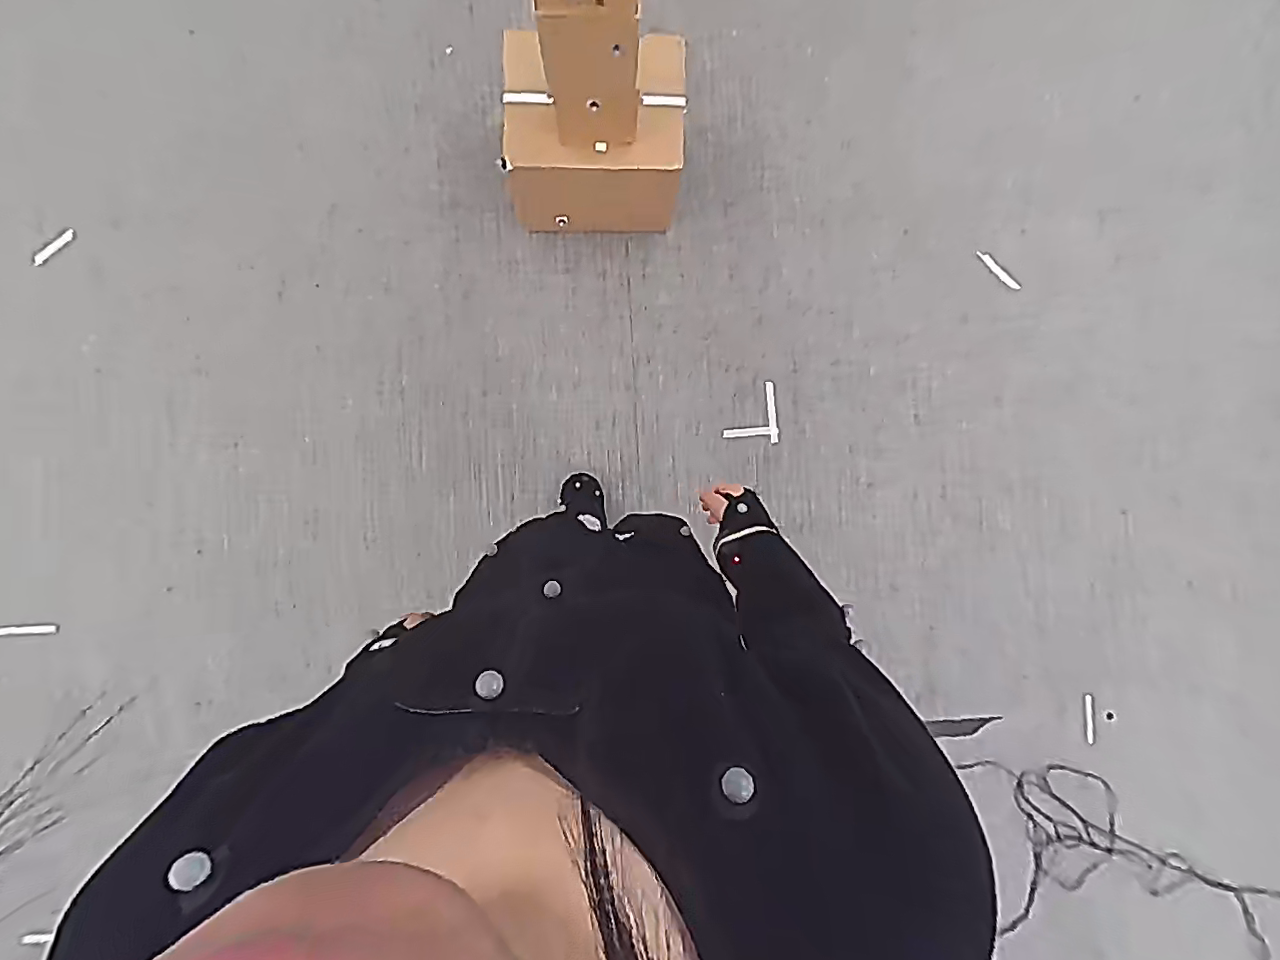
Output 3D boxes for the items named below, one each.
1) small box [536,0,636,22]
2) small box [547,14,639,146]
[{"bbox_3d":[-0.086,-0.845,0.809,0.168,0.176,0.179,-2,90,-3],"label":"small box"},{"bbox_3d":[-0.095,-0.830,1.135,0.179,0.176,0.168,-3,90,-4],"label":"small box"}]
